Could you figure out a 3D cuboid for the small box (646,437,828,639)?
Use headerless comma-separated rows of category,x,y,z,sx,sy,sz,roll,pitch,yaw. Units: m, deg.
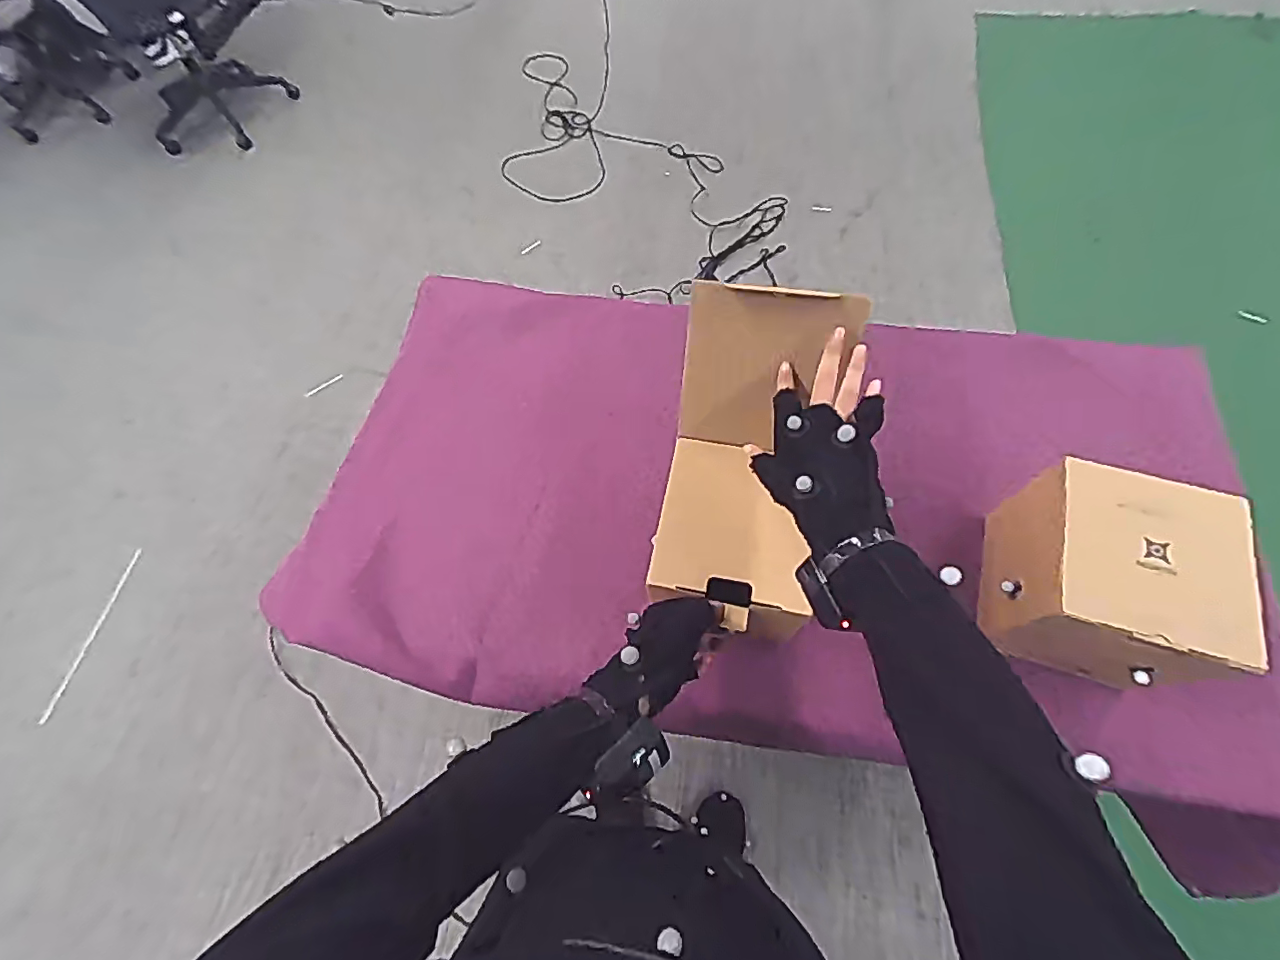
small box,0.110,0.075,0.630,0.168,0.176,0.179,10,66,9

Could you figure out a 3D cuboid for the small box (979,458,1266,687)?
small box,0.495,0.107,0.583,0.168,0.176,0.179,17,66,12
